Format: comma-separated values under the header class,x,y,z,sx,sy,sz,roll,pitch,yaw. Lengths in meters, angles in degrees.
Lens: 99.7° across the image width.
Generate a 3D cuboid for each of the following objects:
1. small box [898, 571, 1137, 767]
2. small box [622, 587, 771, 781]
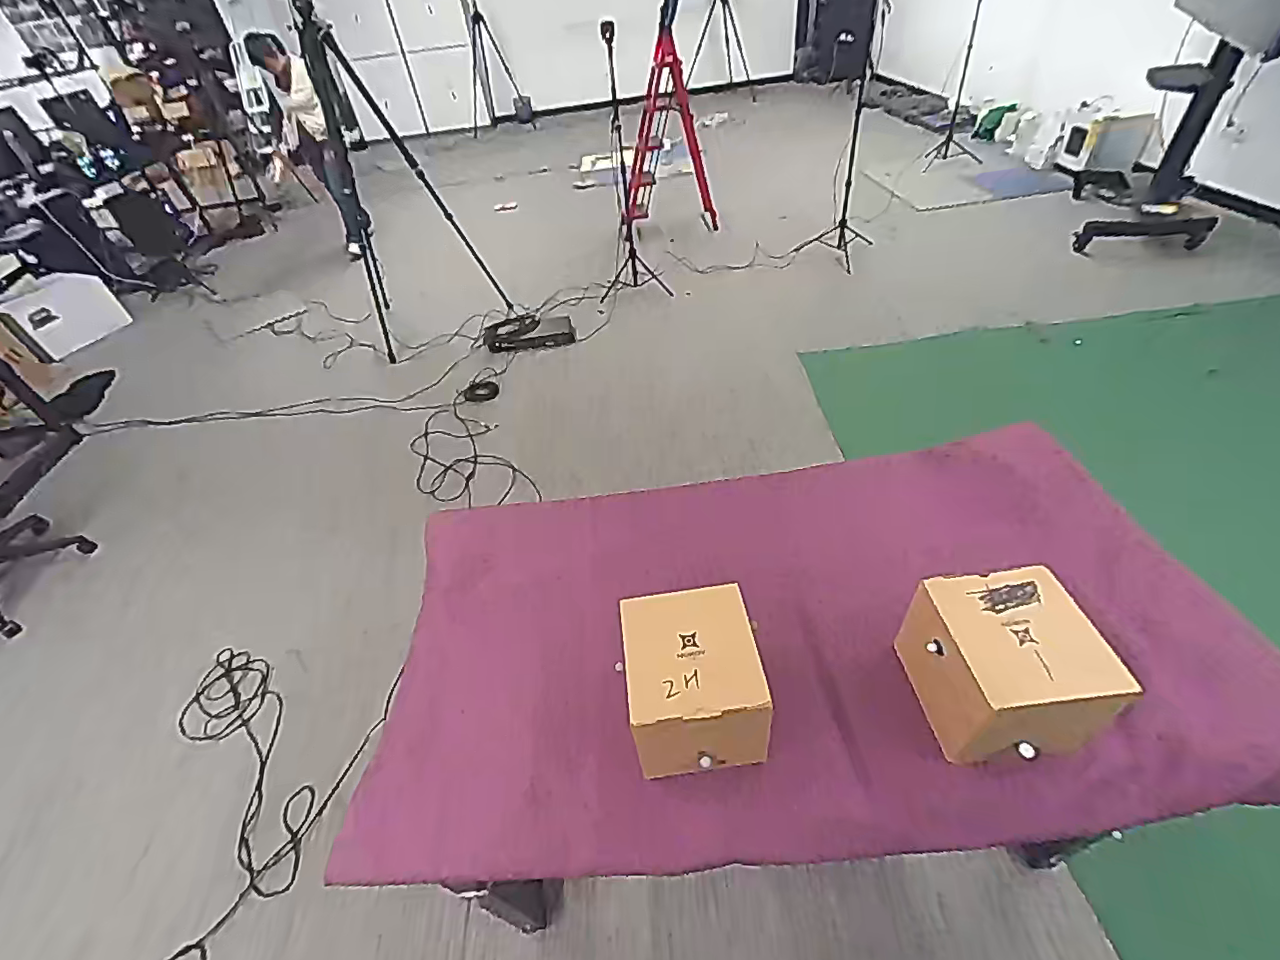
class,x,y,z,sx,sy,sz,roll,pitch,yaw
small box,0.462,0.245,0.703,0.168,0.176,0.179,-7,43,1
small box,0.069,0.273,0.728,0.168,0.176,0.179,-9,42,0
